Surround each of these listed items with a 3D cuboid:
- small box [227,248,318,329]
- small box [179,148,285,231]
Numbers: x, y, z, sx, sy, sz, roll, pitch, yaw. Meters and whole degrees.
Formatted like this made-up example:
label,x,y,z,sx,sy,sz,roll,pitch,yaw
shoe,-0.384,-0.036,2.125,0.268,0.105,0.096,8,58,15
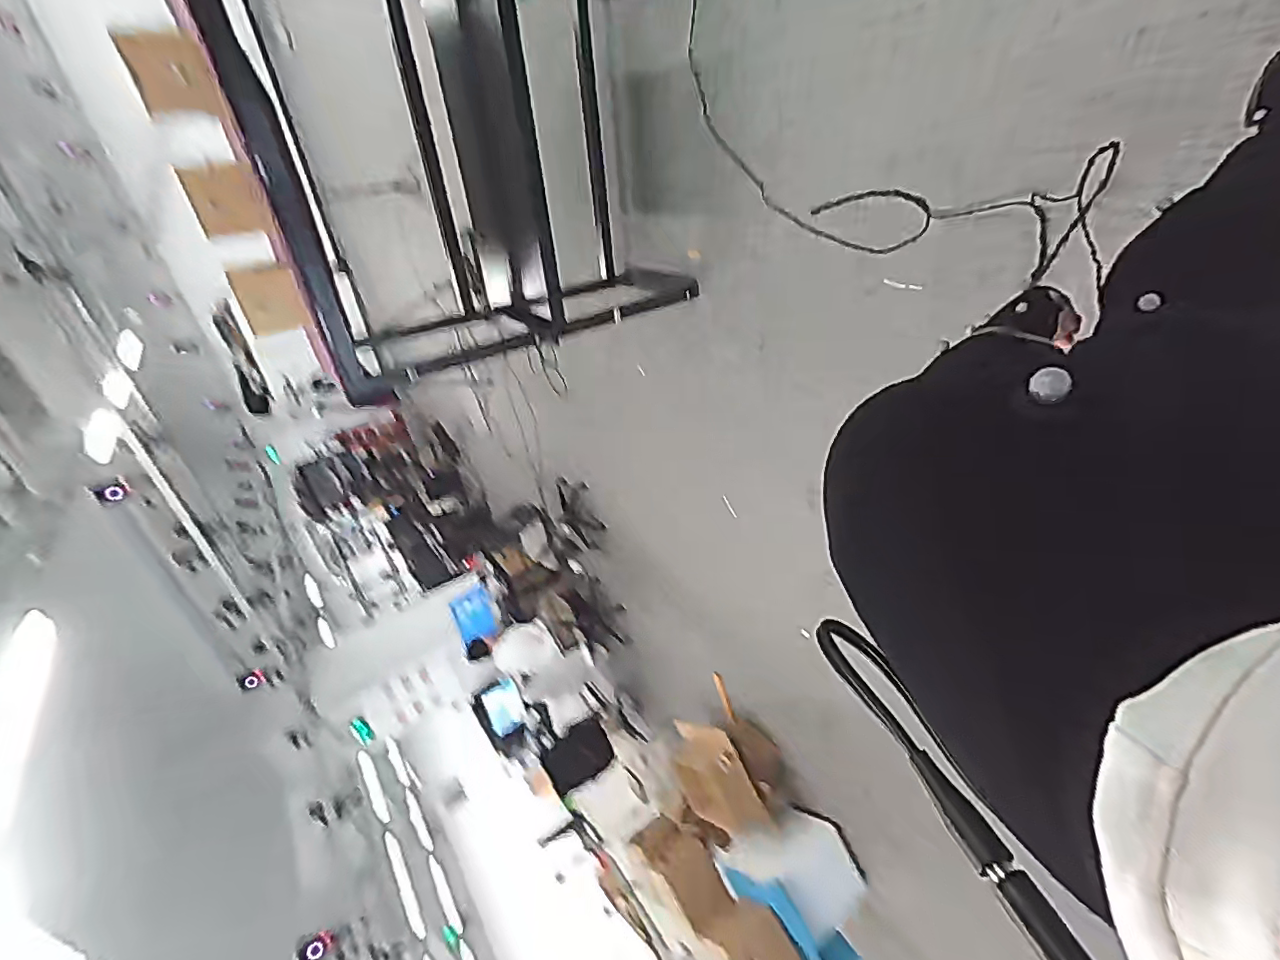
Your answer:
label,x,y,z,sx,sy,sz,roll,pitch,yaw
small box,-1.059,-0.558,1.566,0.168,0.176,0.179,37,140,44
small box,-1.074,-0.772,1.431,0.168,0.176,0.179,35,140,47
